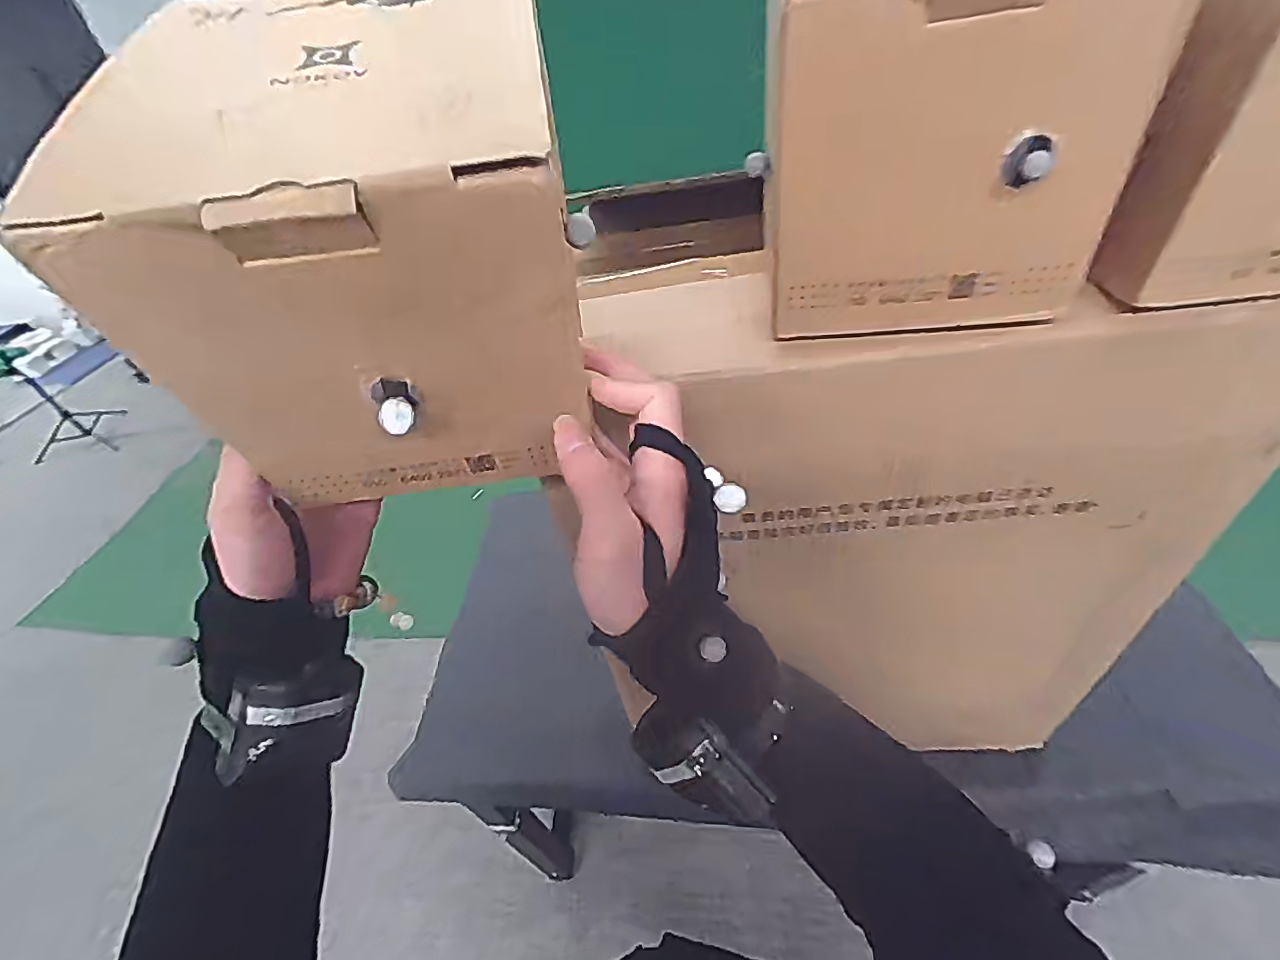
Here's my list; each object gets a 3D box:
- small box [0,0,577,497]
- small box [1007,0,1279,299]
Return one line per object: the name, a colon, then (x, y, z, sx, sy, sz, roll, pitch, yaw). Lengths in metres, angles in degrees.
small box: (-0.128, -0.104, 0.267, 0.168, 0.176, 0.179, -9, 60, -3)
small box: (0.340, -0.219, 0.292, 0.168, 0.176, 0.179, -5, 45, 7)
